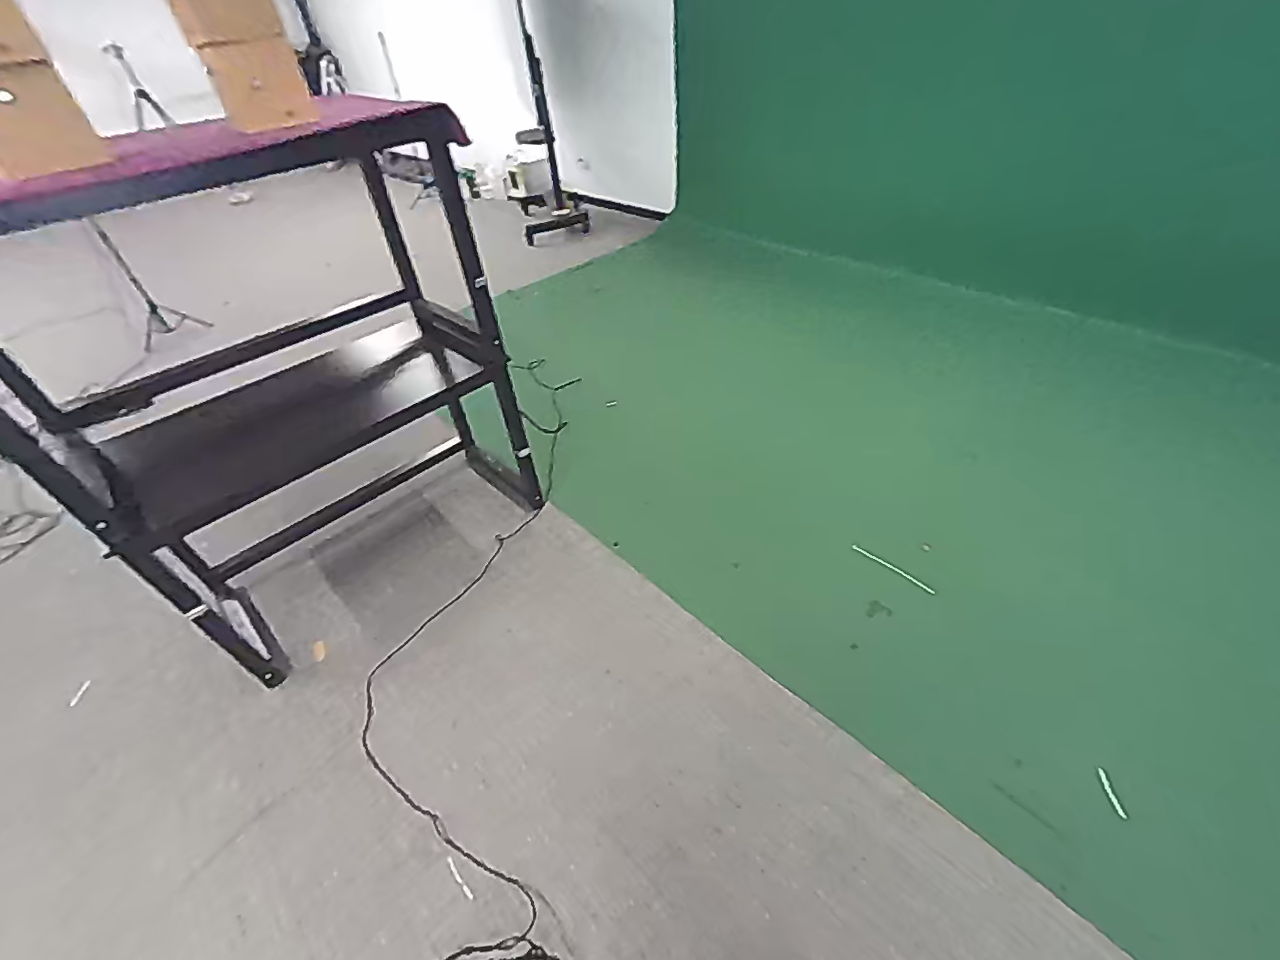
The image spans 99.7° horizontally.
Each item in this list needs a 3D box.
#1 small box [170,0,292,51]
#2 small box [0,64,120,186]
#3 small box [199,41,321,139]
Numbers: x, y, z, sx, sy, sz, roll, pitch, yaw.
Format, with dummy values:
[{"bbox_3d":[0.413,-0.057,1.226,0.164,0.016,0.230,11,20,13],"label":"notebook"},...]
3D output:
[{"bbox_3d":[-0.910,-1.047,1.179,0.179,0.176,0.168,-36,49,-29],"label":"small box"},{"bbox_3d":[-1.170,-0.679,1.036,0.168,0.176,0.179,28,51,32],"label":"small box"},{"bbox_3d":[-0.899,-0.929,1.292,0.168,0.176,0.179,-33,47,-27],"label":"small box"}]
